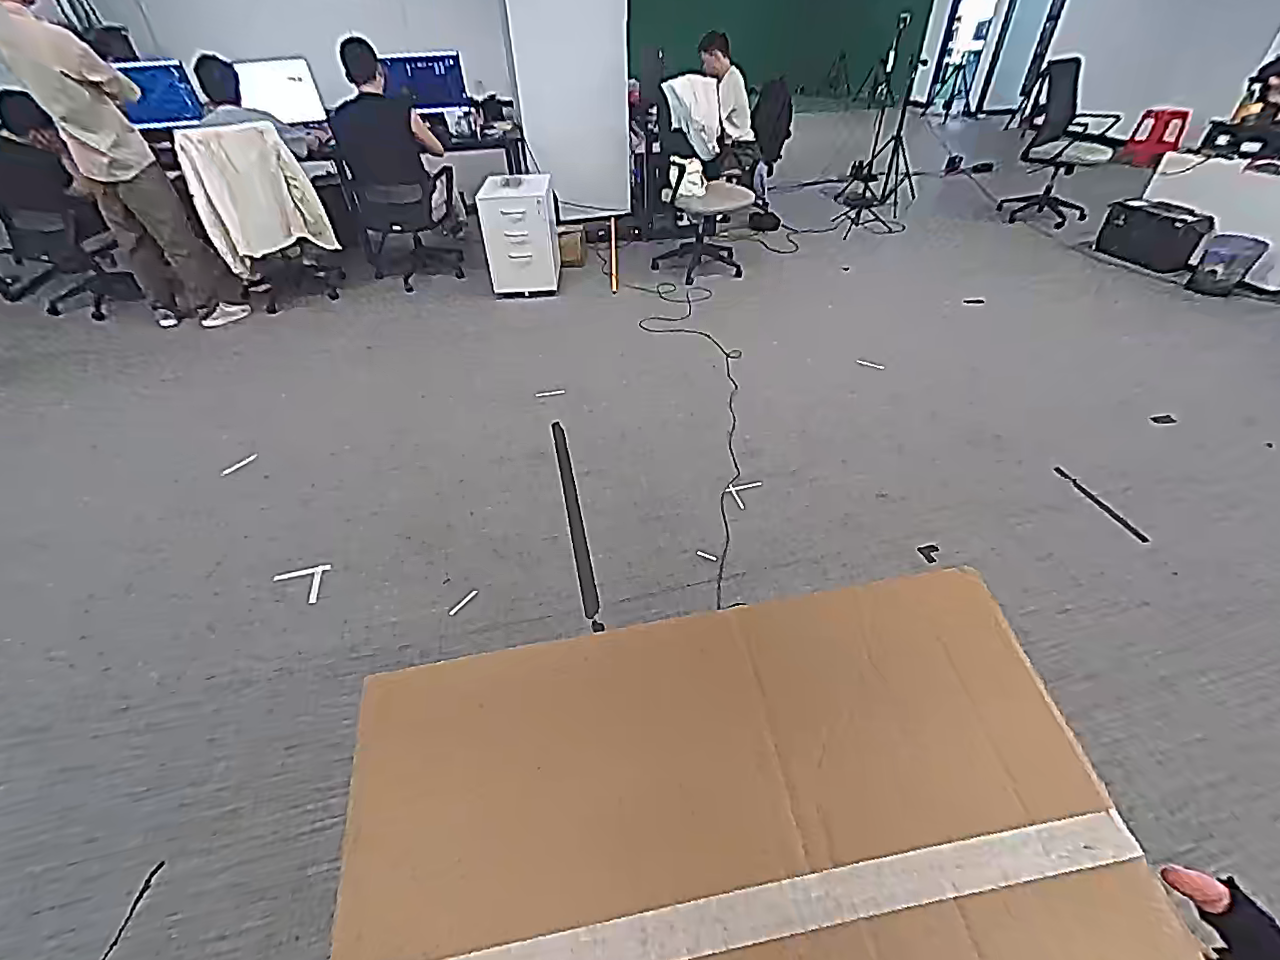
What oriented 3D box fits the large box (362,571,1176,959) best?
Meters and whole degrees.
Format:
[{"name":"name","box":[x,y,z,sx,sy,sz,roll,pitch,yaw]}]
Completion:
[{"name":"large box","box":[0.059,0.306,0.401,0.408,0.320,0.320,-10,56,-4]}]
